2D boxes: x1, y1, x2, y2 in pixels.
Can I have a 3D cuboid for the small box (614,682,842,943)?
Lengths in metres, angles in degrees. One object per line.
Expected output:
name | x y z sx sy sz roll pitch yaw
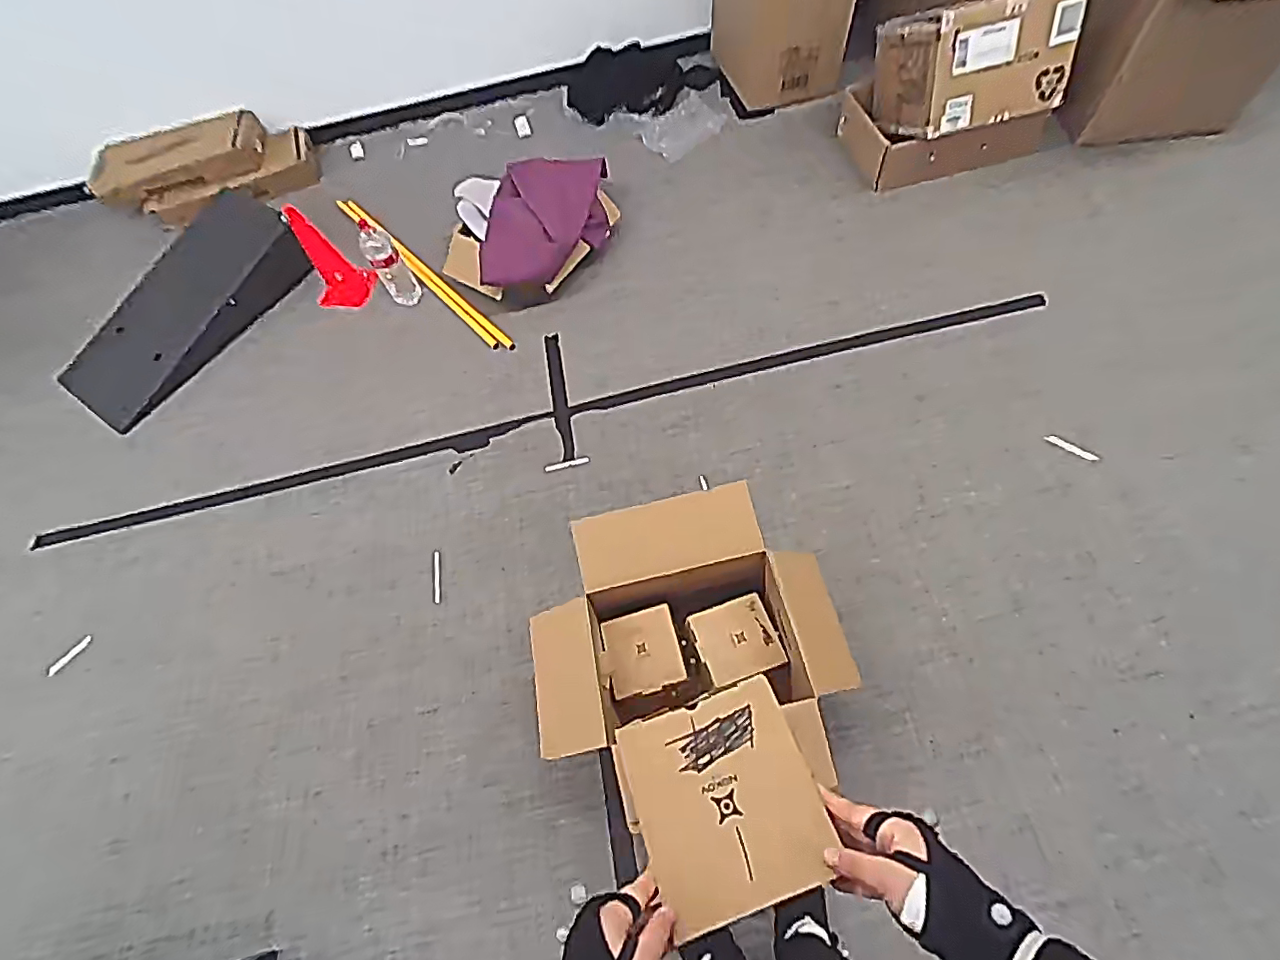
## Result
small box | 0.083 0.345 0.576 0.168 0.176 0.179 -19 57 -4
